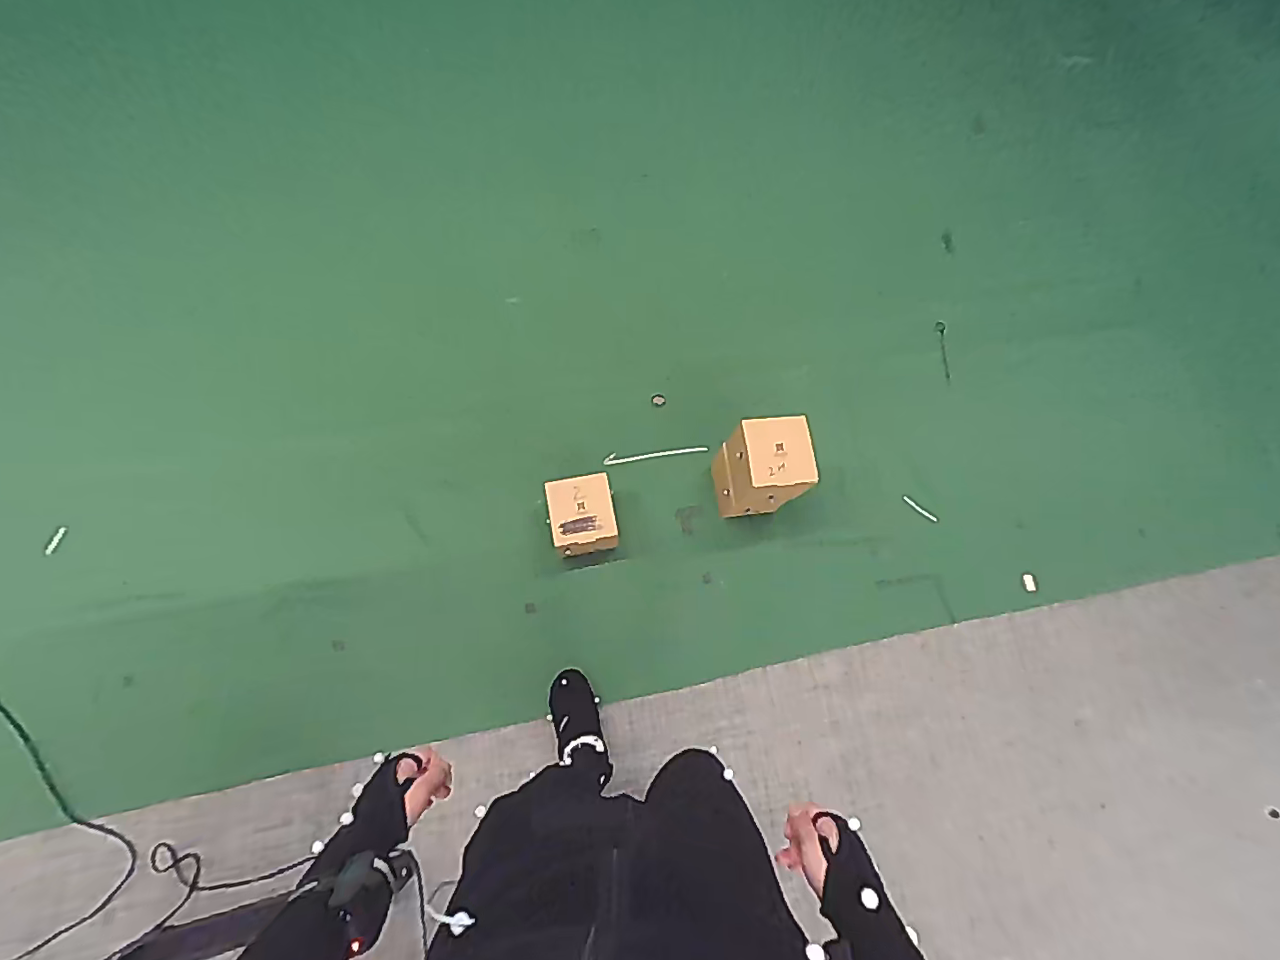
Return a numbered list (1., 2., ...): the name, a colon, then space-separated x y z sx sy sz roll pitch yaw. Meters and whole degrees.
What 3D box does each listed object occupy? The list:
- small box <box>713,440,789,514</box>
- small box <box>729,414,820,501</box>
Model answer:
1. small box: 0.315 -0.012 1.534 0.168 0.176 0.179 -6 75 -7
2. small box: 0.333 -0.054 1.376 0.168 0.176 0.179 -5 75 -7
